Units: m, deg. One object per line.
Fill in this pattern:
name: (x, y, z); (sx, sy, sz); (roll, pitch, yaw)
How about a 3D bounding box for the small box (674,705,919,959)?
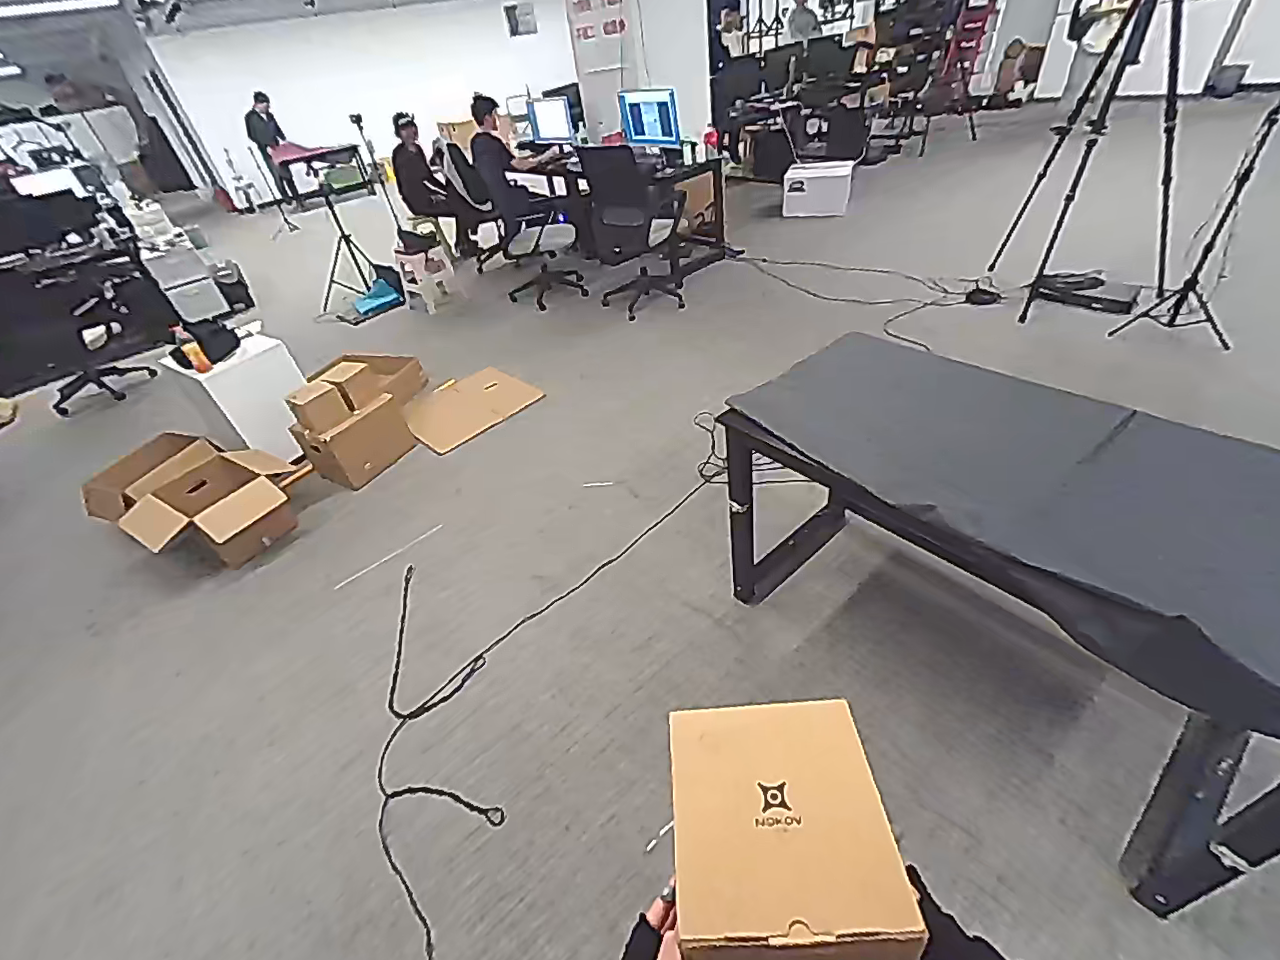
small box: (0.120, 0.333, 0.486); (0.168, 0.176, 0.179); (-6, 34, 4)
